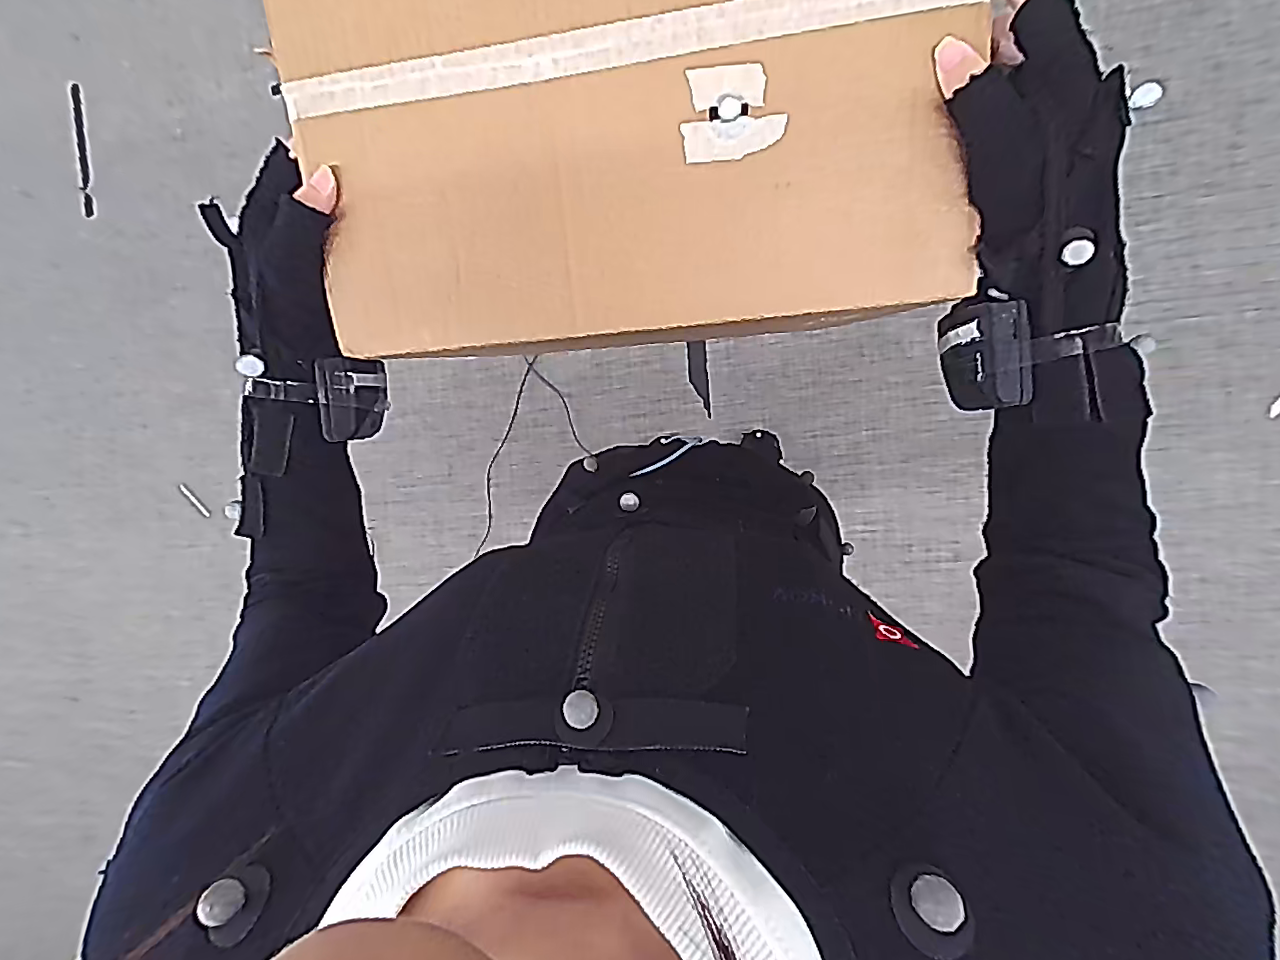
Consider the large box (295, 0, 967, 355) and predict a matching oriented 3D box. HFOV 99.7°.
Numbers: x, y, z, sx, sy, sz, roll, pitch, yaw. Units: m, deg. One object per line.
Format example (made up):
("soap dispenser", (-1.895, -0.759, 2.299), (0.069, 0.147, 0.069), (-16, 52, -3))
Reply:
("large box", (0.001, -0.287, 0.469), (0.408, 0.320, 0.320), (-4, 103, 7))
